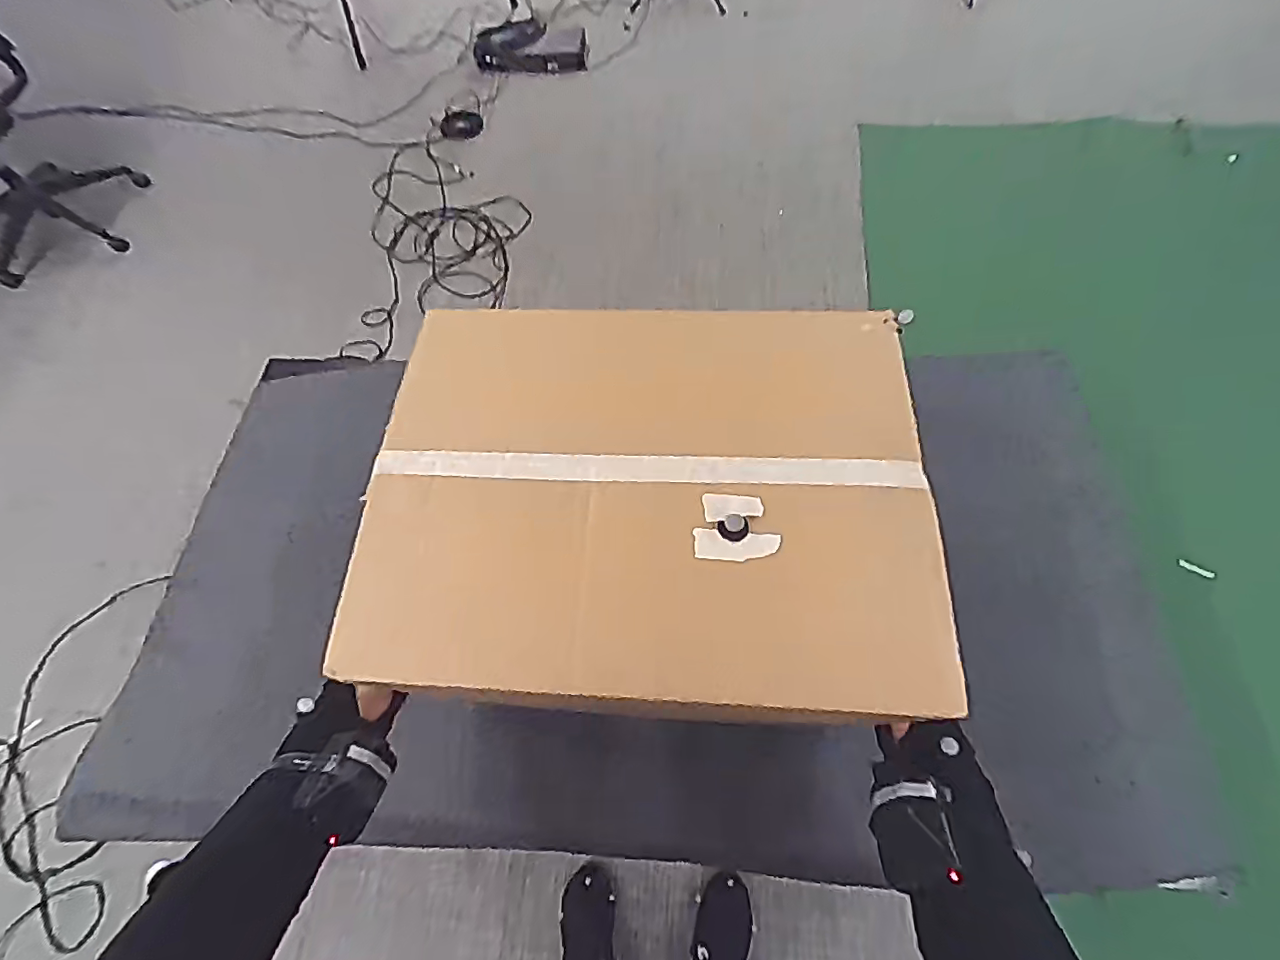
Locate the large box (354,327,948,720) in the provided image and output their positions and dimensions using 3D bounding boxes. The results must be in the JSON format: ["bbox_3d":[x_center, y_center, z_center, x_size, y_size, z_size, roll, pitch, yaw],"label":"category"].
[{"bbox_3d":[0.013,0.066,0.553,0.408,0.320,0.320,2,65,4],"label":"large box"}]
